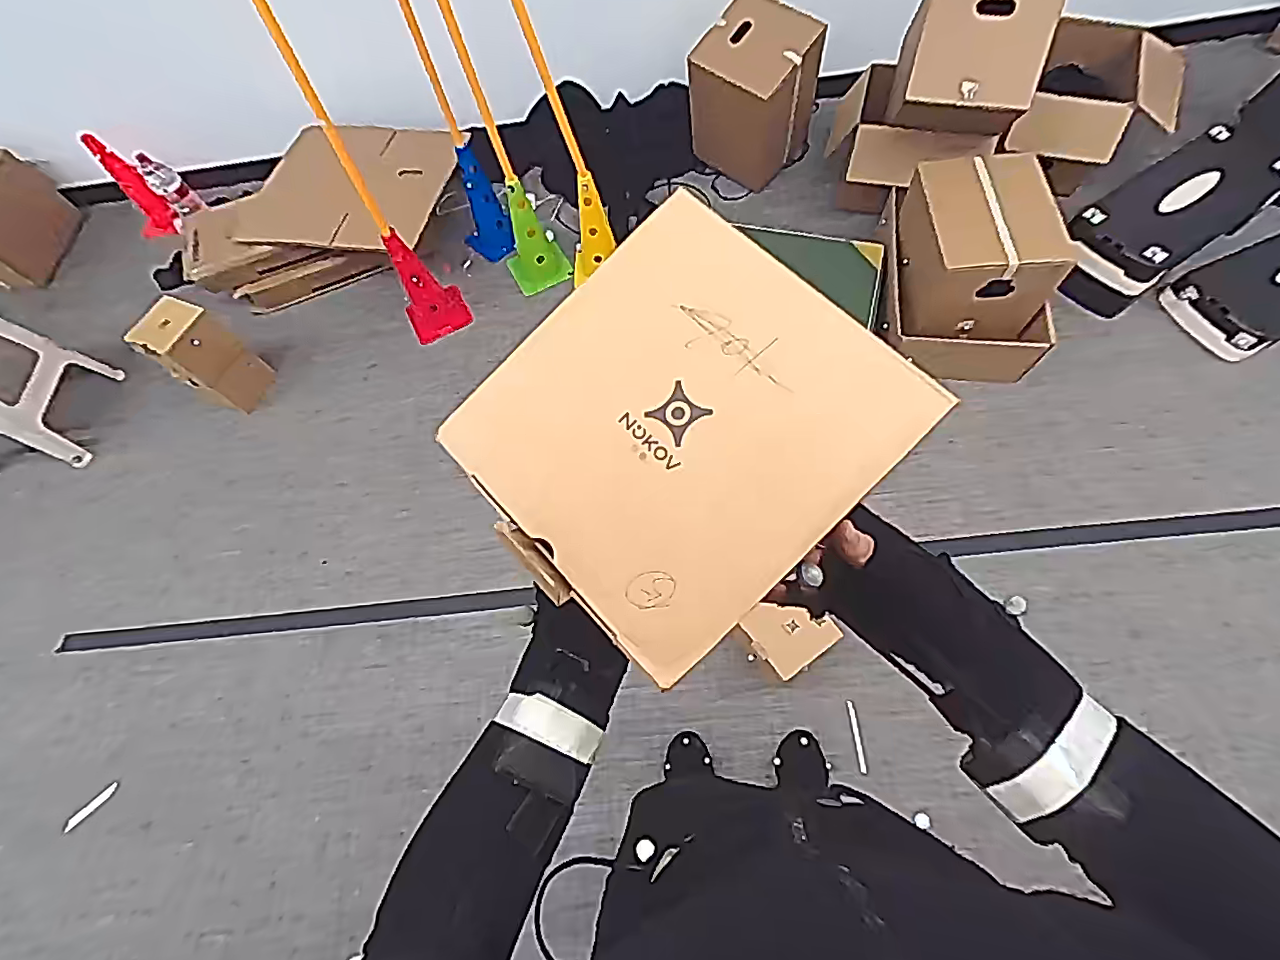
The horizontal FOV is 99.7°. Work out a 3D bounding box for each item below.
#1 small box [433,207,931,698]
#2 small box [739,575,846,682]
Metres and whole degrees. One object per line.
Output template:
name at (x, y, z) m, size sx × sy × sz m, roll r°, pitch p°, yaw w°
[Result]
small box at (0.025, -0.006, 0.324) m, size 0.179 × 0.176 × 0.168 m, roll -45°, pitch 75°, yaw 0°
small box at (0.353, 0.360, 1.289) m, size 0.179 × 0.176 × 0.168 m, roll -36°, pitch 67°, yaw -11°
